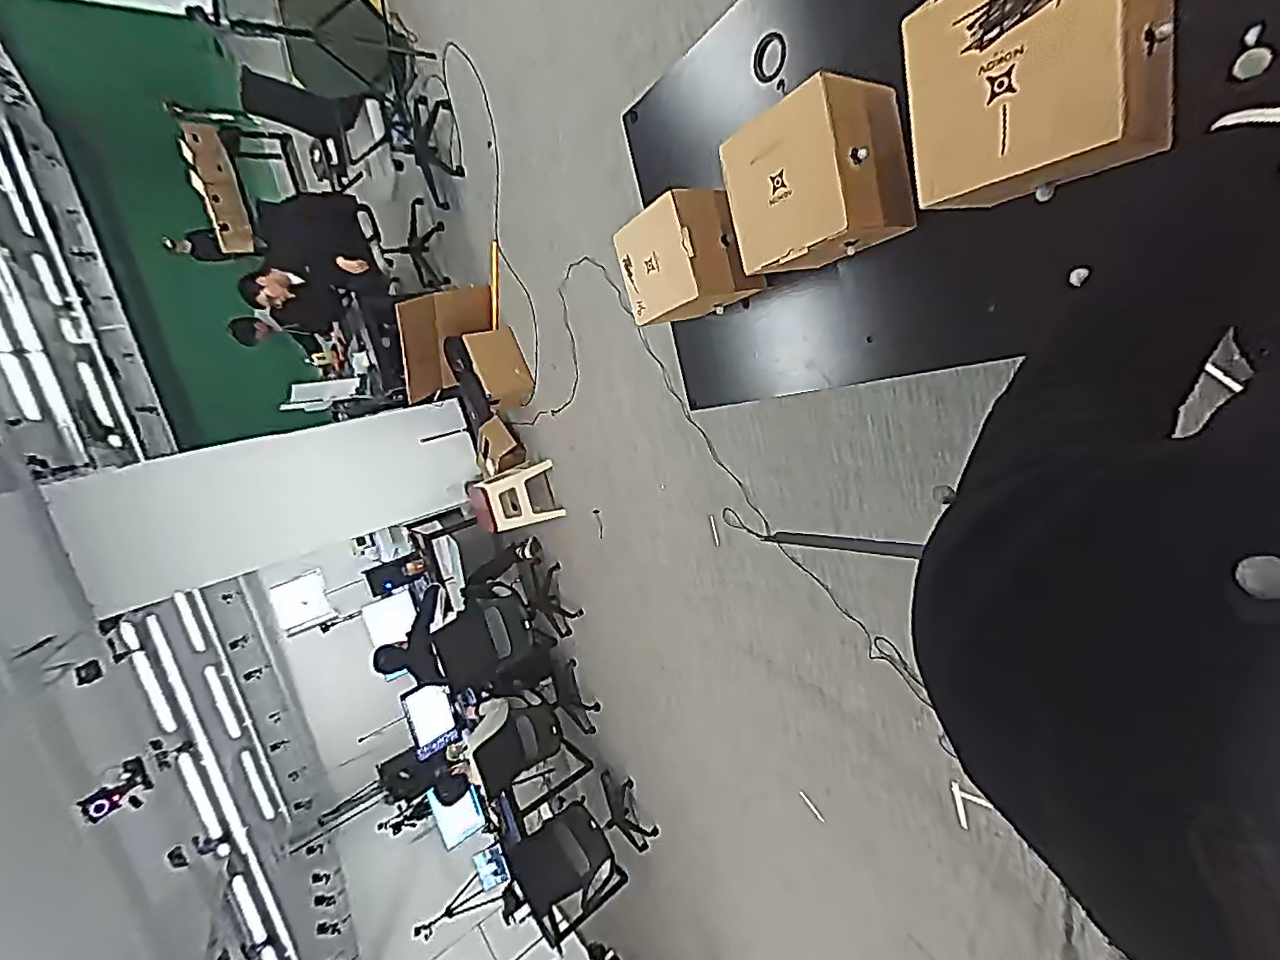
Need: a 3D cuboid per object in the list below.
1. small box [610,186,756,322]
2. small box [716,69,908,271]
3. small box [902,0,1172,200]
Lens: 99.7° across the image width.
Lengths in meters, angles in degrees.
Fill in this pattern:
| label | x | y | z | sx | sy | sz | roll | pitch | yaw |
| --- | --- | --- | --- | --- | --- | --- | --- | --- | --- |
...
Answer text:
| label | x | y | z | sx | sy | sz | roll | pitch | yaw |
| --- | --- | --- | --- | --- | --- | --- | --- | --- | --- |
| small box | 0.080 | -0.387 | 0.935 | 0.179 | 0.176 | 0.168 | -4 | 103 | 54 |
| small box | 0.232 | -0.398 | 0.721 | 0.168 | 0.176 | 0.179 | -2 | 104 | 54 |
| small box | 0.378 | -0.387 | 0.519 | 0.168 | 0.176 | 0.179 | 6 | 112 | 53 |
